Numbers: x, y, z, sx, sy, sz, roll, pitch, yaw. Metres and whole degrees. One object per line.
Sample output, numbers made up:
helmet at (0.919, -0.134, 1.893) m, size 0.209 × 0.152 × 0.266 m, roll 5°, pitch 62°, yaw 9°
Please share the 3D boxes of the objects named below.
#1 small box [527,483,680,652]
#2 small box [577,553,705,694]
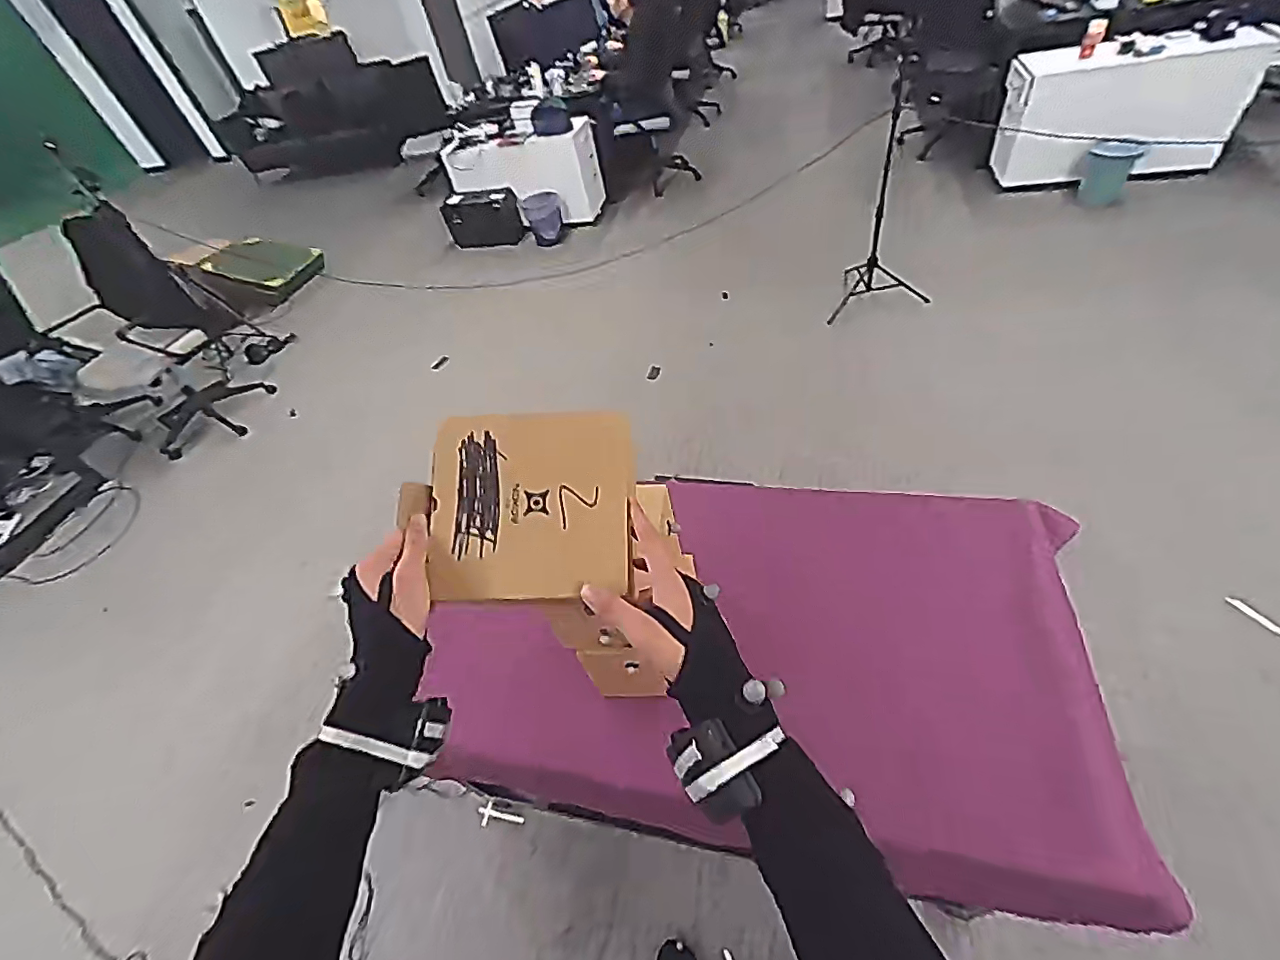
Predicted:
small box at (-0.038, 0.123, 0.772) m, size 0.168 × 0.176 × 0.179 m, roll -1°, pitch 48°, yaw 13°
small box at (0.010, 0.238, 0.882) m, size 0.179 × 0.176 × 0.168 m, roll -4°, pitch 48°, yaw 9°
